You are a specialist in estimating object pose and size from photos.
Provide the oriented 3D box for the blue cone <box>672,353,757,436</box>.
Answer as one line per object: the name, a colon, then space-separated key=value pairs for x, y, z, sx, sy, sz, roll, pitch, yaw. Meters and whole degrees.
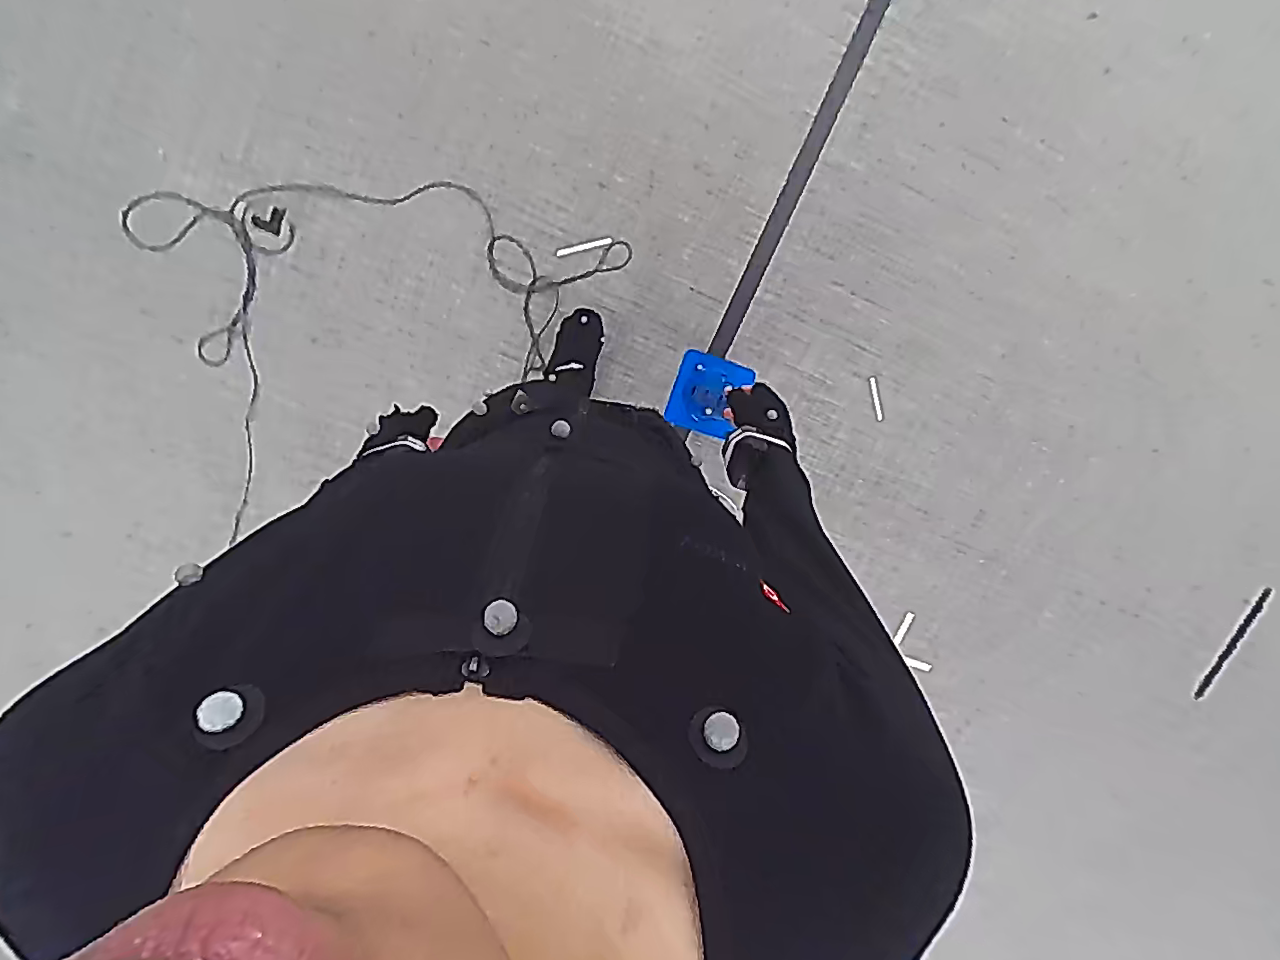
blue cone: x=0.199 y=-0.188 z=1.265 sx=0.192 sy=0.380 sz=0.193 roll=19 pitch=101 yaw=-7
